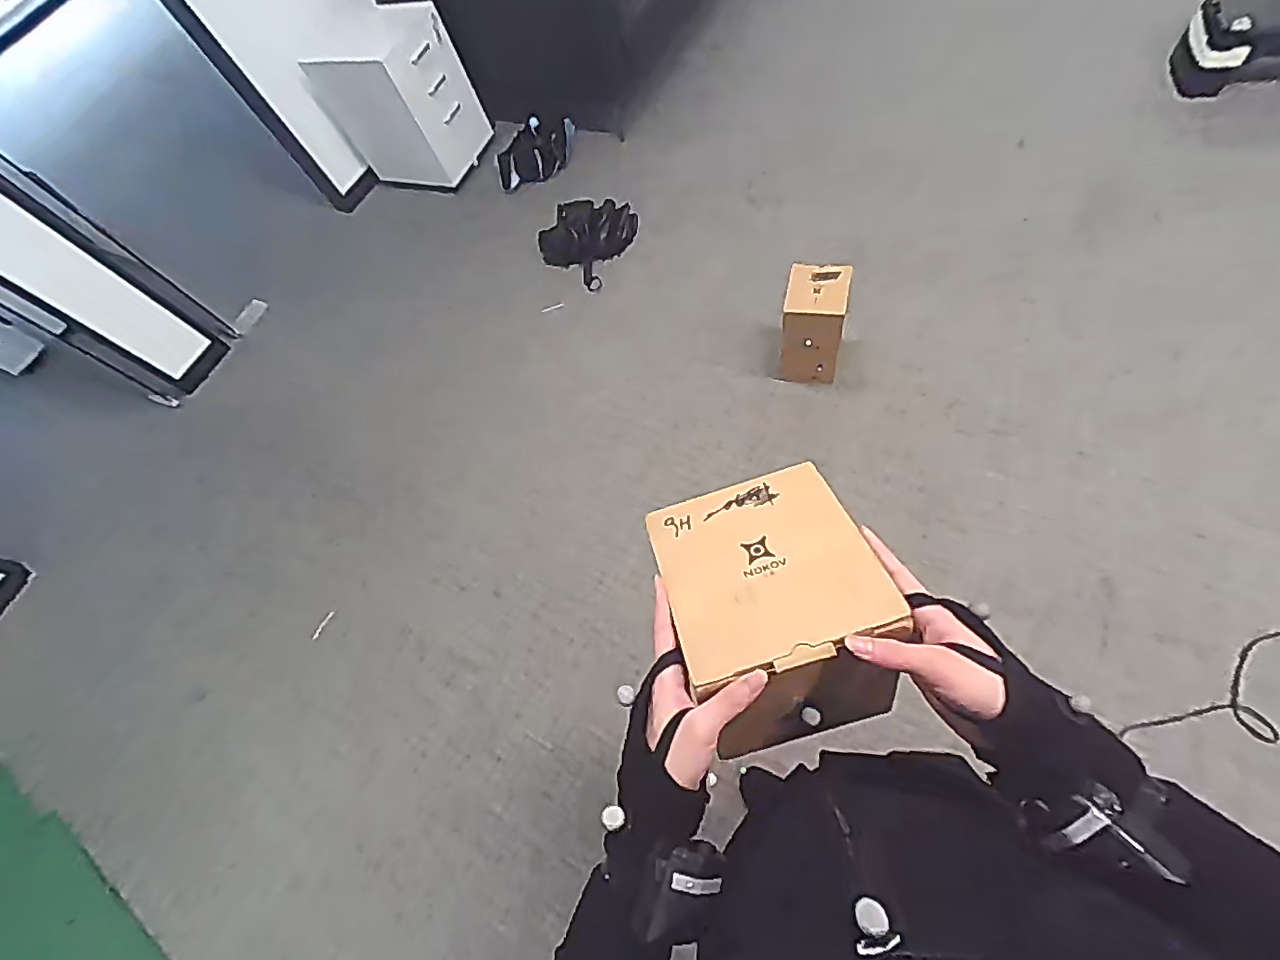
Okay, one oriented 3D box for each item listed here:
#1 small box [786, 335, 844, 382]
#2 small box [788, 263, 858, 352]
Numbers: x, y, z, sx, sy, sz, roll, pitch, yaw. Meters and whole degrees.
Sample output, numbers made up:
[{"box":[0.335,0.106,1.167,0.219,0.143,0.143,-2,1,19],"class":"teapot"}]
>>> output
[{"box":[0.554,-0.427,1.693,0.168,0.176,0.179,8,66,18],"class":"small box"},{"box":[0.518,-0.492,1.546,0.168,0.176,0.179,9,69,19],"class":"small box"}]
